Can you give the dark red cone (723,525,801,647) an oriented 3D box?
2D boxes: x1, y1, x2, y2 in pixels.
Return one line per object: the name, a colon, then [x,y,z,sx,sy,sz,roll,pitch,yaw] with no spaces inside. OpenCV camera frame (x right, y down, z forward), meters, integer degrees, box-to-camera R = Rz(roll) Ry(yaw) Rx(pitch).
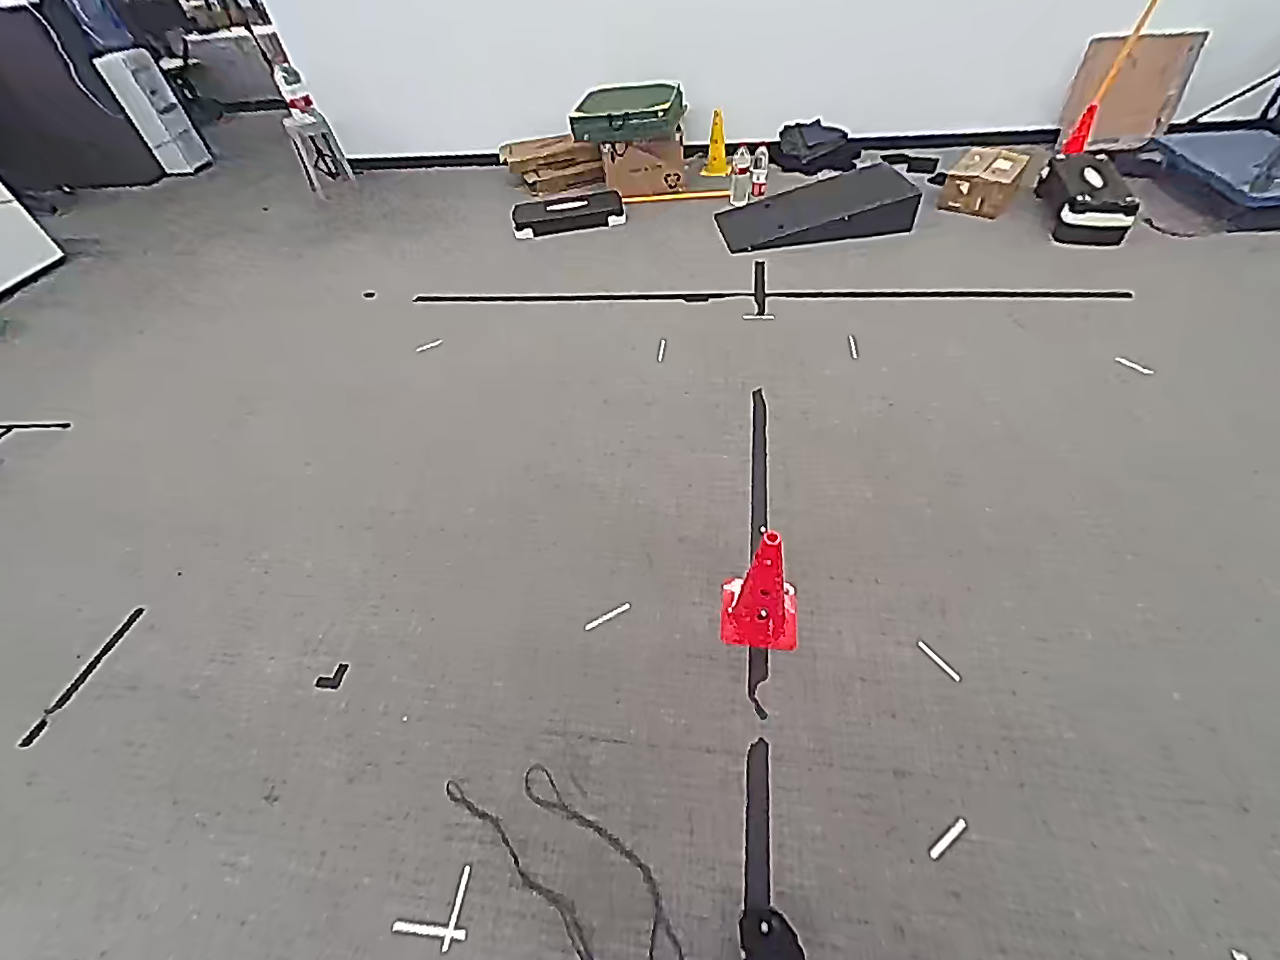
dark red cone: [0.310,0.240,1.333,0.201,0.394,0.202,2,49,9]
